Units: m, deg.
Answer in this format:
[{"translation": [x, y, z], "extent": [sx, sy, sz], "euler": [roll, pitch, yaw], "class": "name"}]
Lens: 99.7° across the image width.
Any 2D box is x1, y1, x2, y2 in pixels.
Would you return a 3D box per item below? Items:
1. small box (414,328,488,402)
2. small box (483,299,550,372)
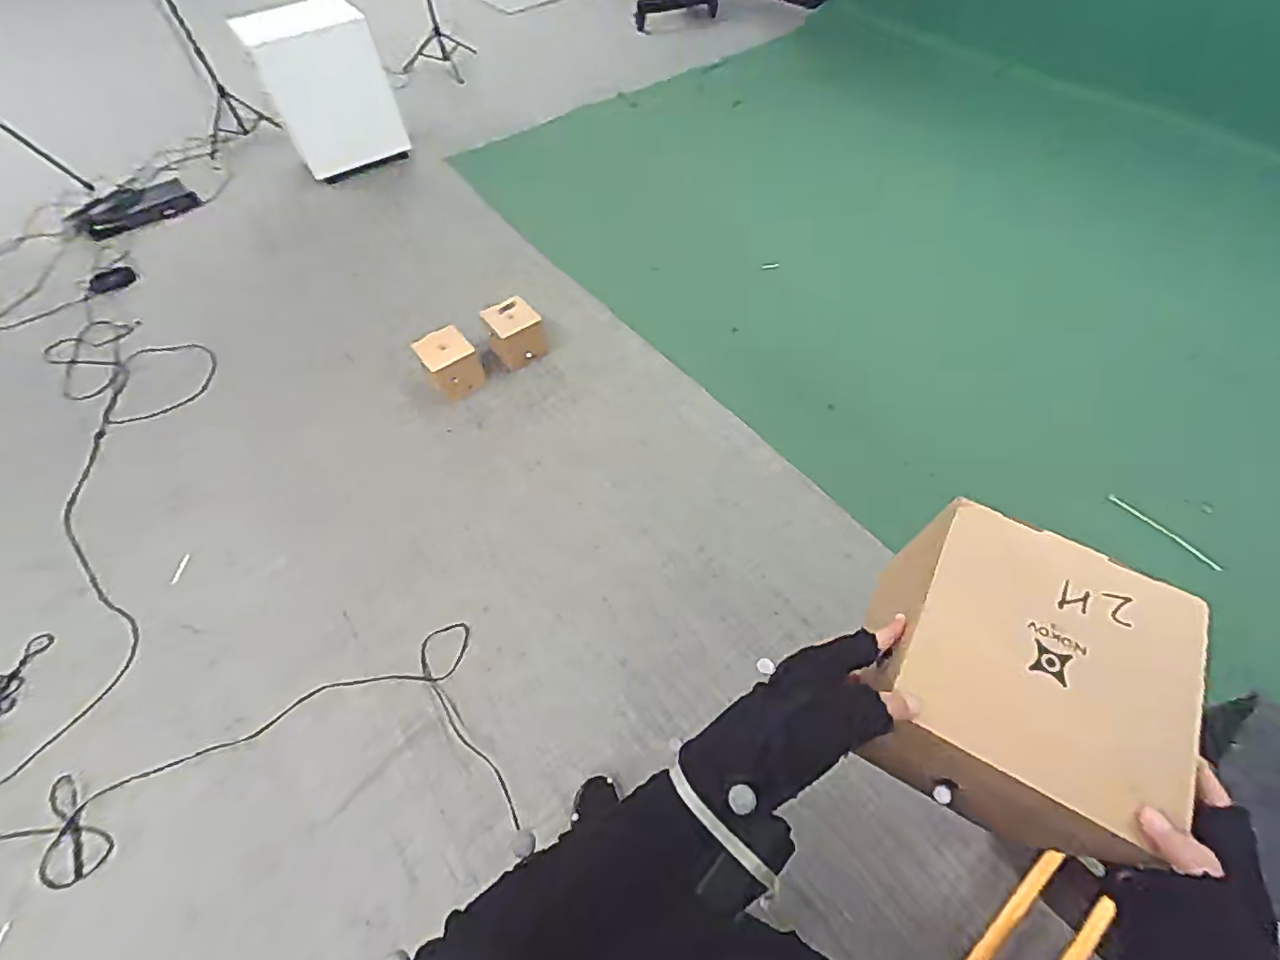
[{"translation": [-0.667, -0.402, 1.931], "extent": [0.168, 0.176, 0.179], "euler": [-34, 61, -20], "class": "small box"}, {"translation": [-0.455, -0.535, 2.012], "extent": [0.168, 0.176, 0.179], "euler": [-34, 62, -19], "class": "small box"}]
